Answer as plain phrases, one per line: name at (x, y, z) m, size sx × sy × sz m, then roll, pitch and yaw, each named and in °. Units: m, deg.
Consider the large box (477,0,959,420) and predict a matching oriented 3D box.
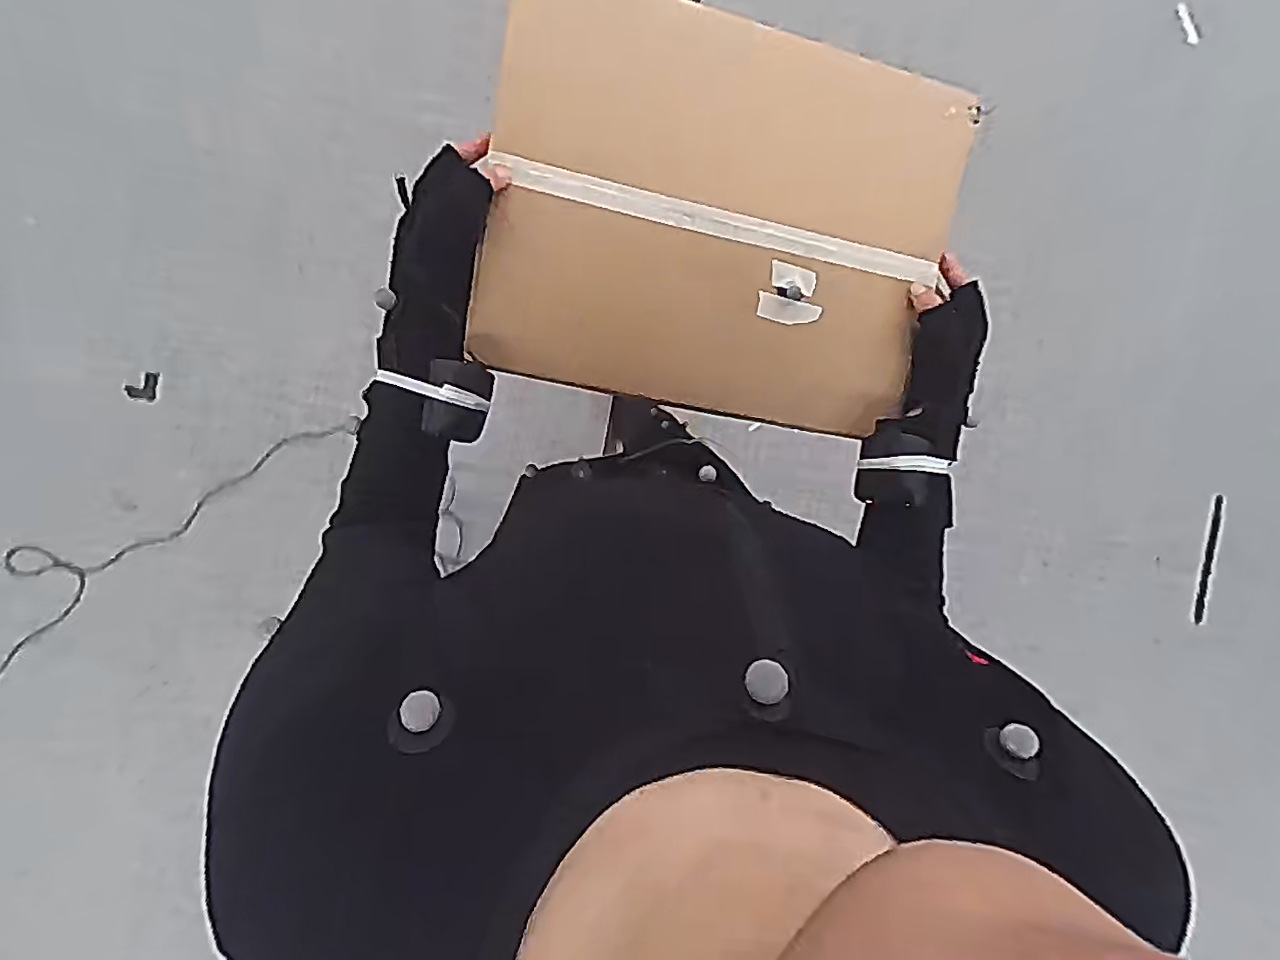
large box at (0.050, -0.259, 0.621) m, size 0.408 × 0.320 × 0.320 m, roll 9°, pitch 100°, yaw -11°
